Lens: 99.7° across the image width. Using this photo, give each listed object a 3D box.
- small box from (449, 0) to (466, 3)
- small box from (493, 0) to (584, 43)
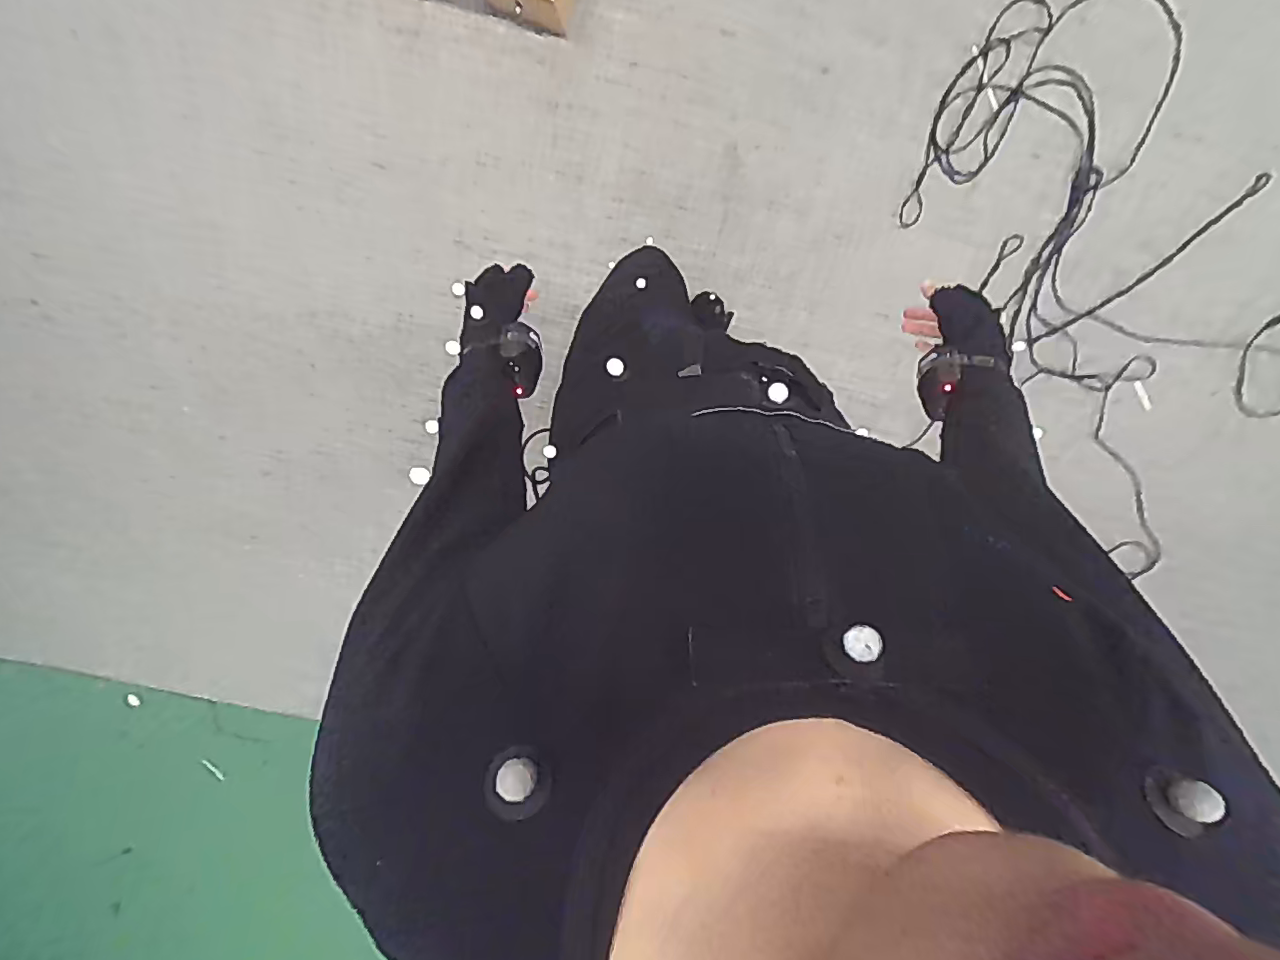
[{"bbox_3d":[-0.435,-1.069,1.041,0.168,0.176,0.179,8,110,0],"label":"small box"},{"bbox_3d":[-0.195,-1.005,1.053,0.168,0.176,0.179,18,110,-5],"label":"small box"}]
